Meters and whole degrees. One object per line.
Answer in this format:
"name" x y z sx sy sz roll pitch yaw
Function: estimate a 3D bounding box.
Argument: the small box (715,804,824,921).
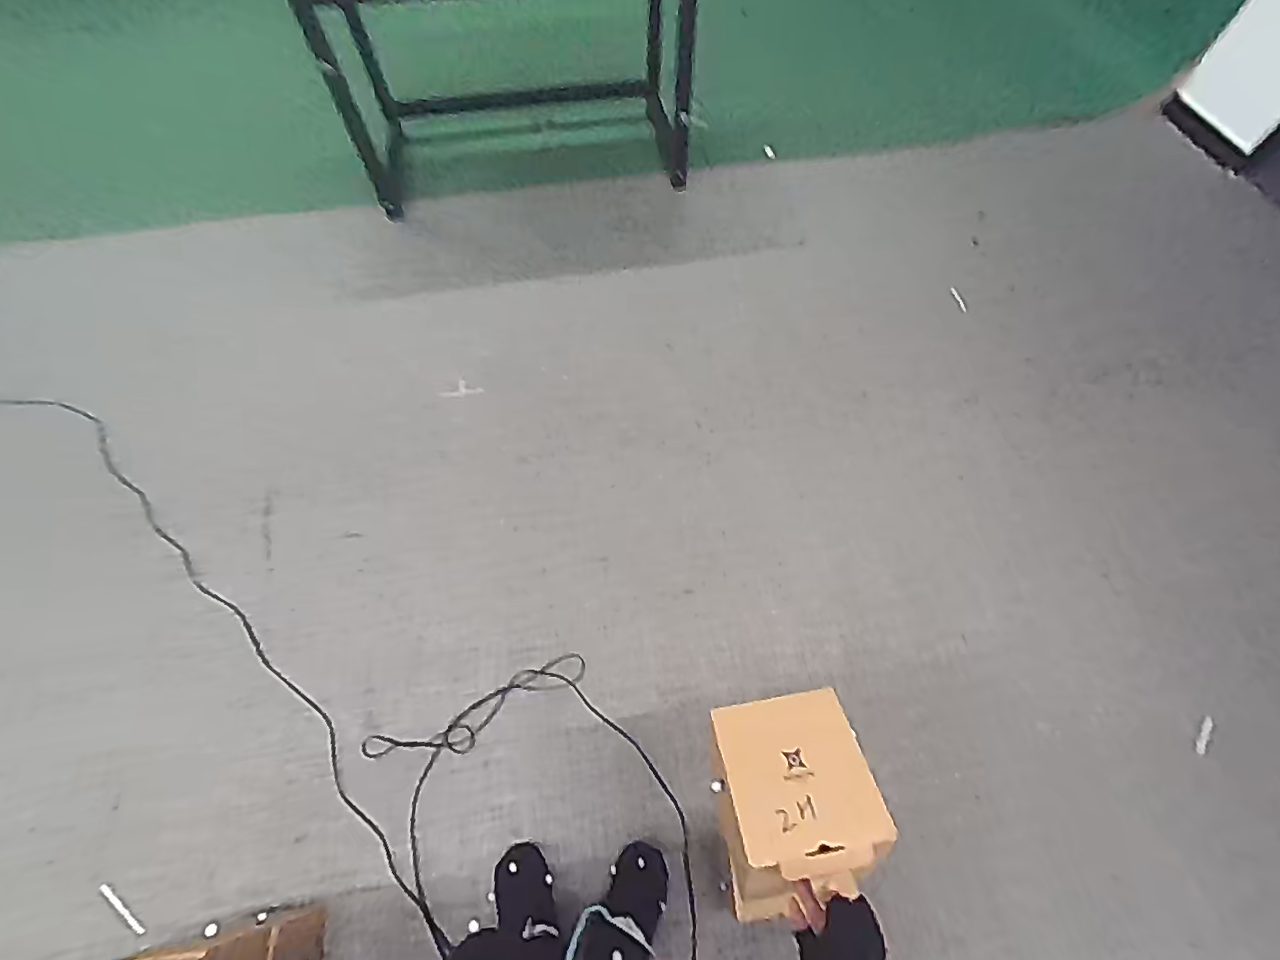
"small box" 0.249 0.748 1.081 0.168 0.176 0.179 -3 62 -2

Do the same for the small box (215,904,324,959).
"small box" -0.720 0.914 1.001 0.179 0.176 0.168 -6 62 -4

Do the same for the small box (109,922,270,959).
"small box" -0.728 0.838 0.855 0.168 0.176 0.179 -6 61 -3

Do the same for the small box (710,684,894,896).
"small box" 0.187 0.393 0.689 0.168 0.176 0.179 -10 42 -4
